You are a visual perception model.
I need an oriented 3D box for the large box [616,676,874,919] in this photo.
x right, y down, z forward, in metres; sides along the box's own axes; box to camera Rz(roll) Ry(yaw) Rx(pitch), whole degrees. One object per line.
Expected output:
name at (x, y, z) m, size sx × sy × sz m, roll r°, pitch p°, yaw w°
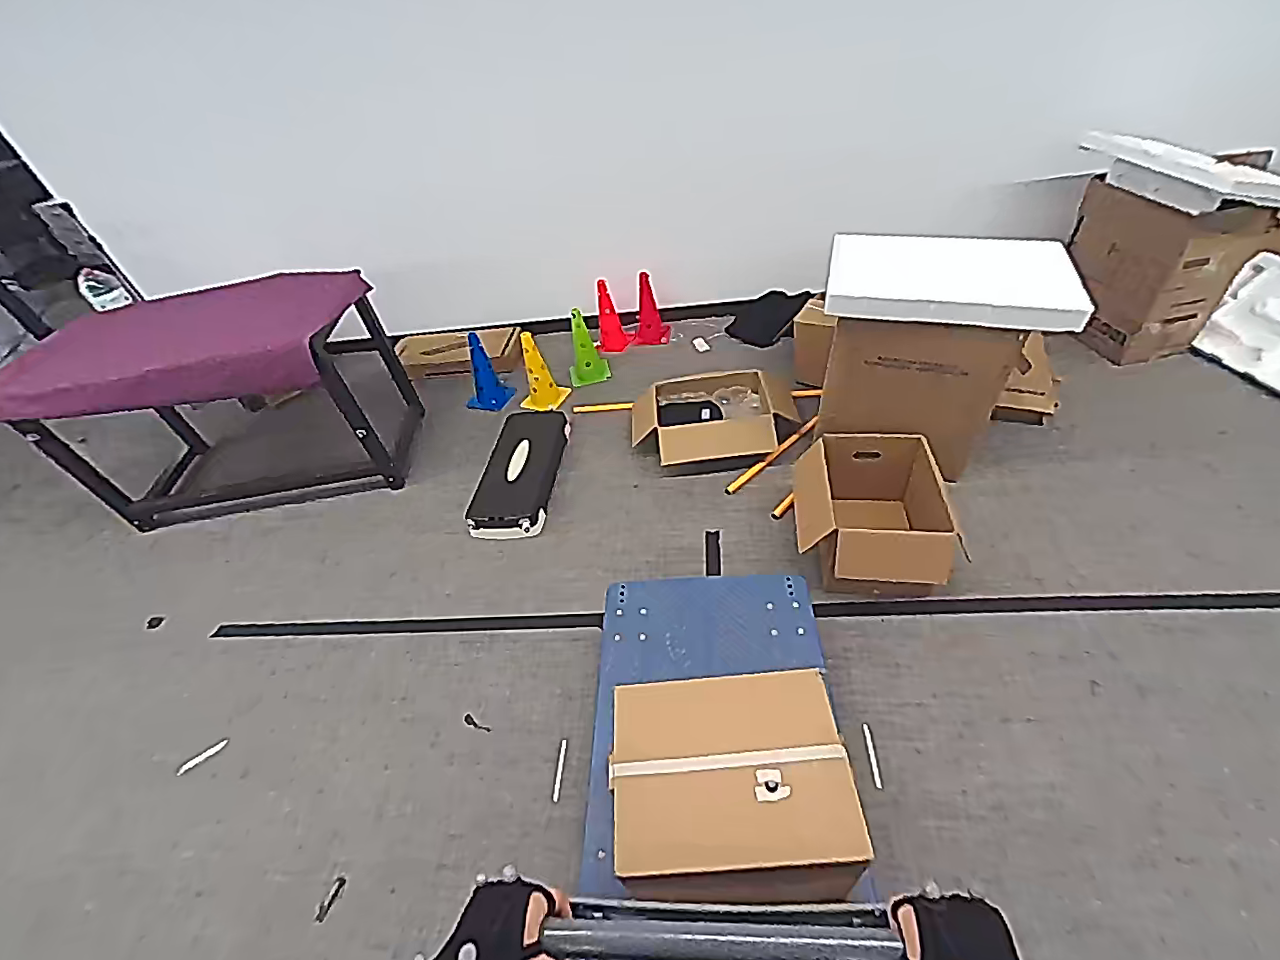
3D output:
large box at (0.172, 0.614, 1.047) m, size 0.408 × 0.320 × 0.320 m, roll -6°, pitch 44°, yaw 2°
